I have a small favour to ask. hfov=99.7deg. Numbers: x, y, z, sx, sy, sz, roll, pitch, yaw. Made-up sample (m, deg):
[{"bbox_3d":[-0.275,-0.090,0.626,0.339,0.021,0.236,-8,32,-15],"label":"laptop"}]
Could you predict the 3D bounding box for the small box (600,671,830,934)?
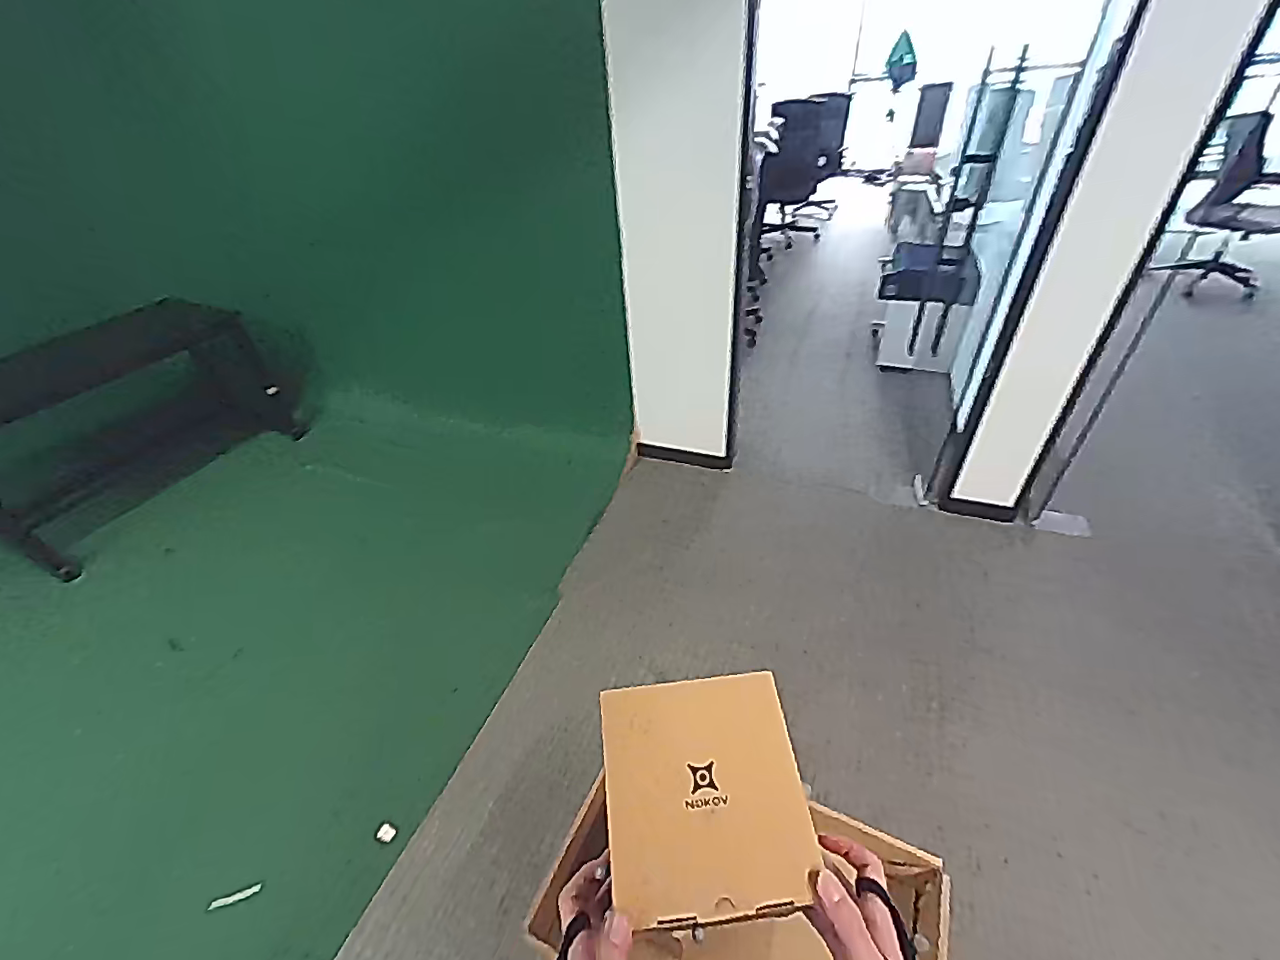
[{"bbox_3d":[0.049,0.302,0.506,0.168,0.176,0.179,-4,50,-5],"label":"small box"}]
